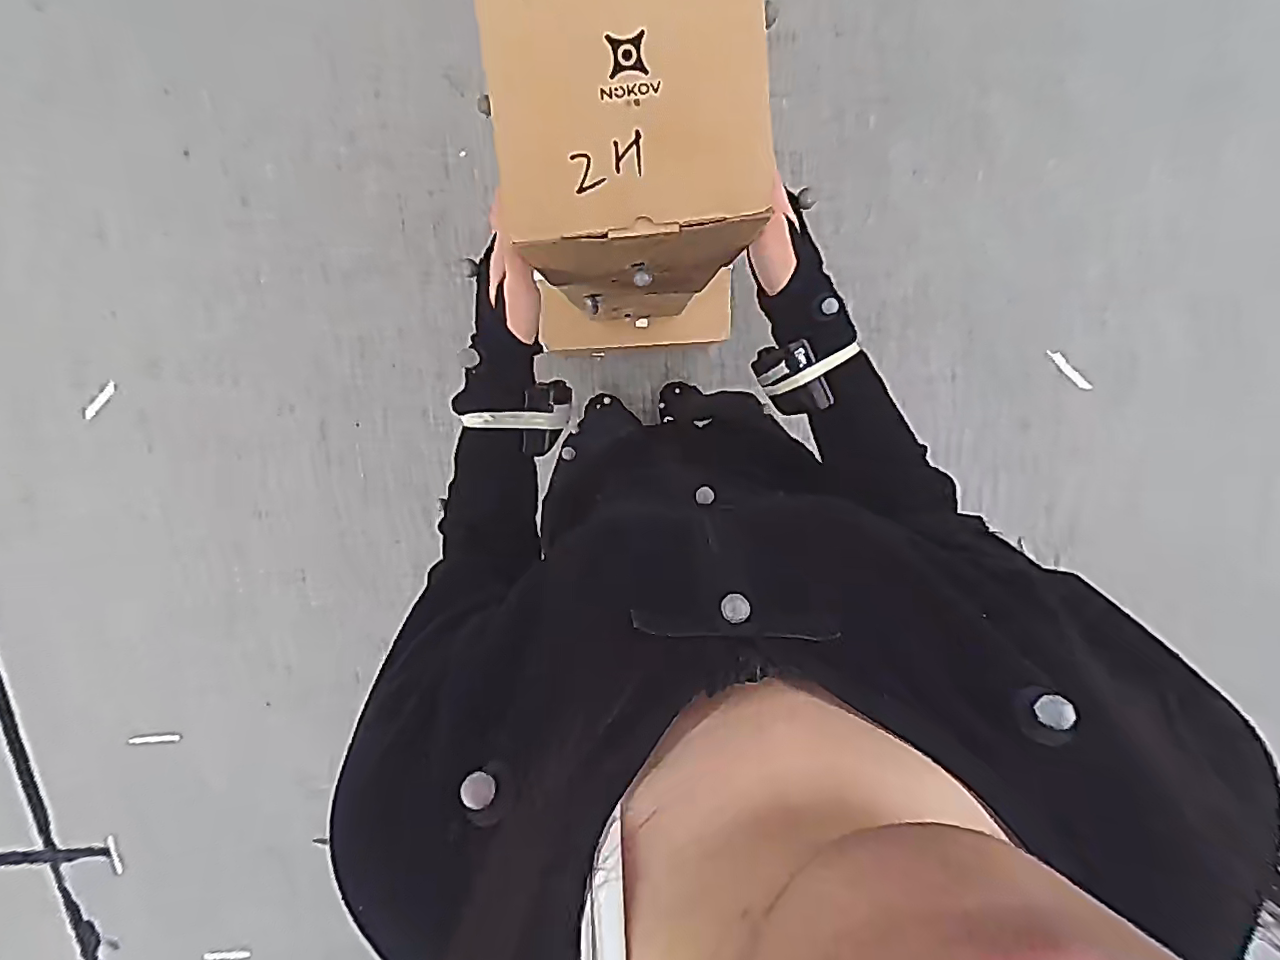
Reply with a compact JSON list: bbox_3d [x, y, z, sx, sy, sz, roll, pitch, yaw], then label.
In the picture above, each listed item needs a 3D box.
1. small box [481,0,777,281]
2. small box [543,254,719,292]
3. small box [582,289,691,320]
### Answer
[{"bbox_3d":[-0.006,-0.257,0.393,0.168,0.176,0.179,-6,102,1],"label":"small box"},{"bbox_3d":[-0.009,-0.293,0.555,0.168,0.176,0.179,-3,101,0],"label":"small box"},{"bbox_3d":[-0.012,-0.362,0.876,0.168,0.176,0.179,-5,103,1],"label":"small box"}]
